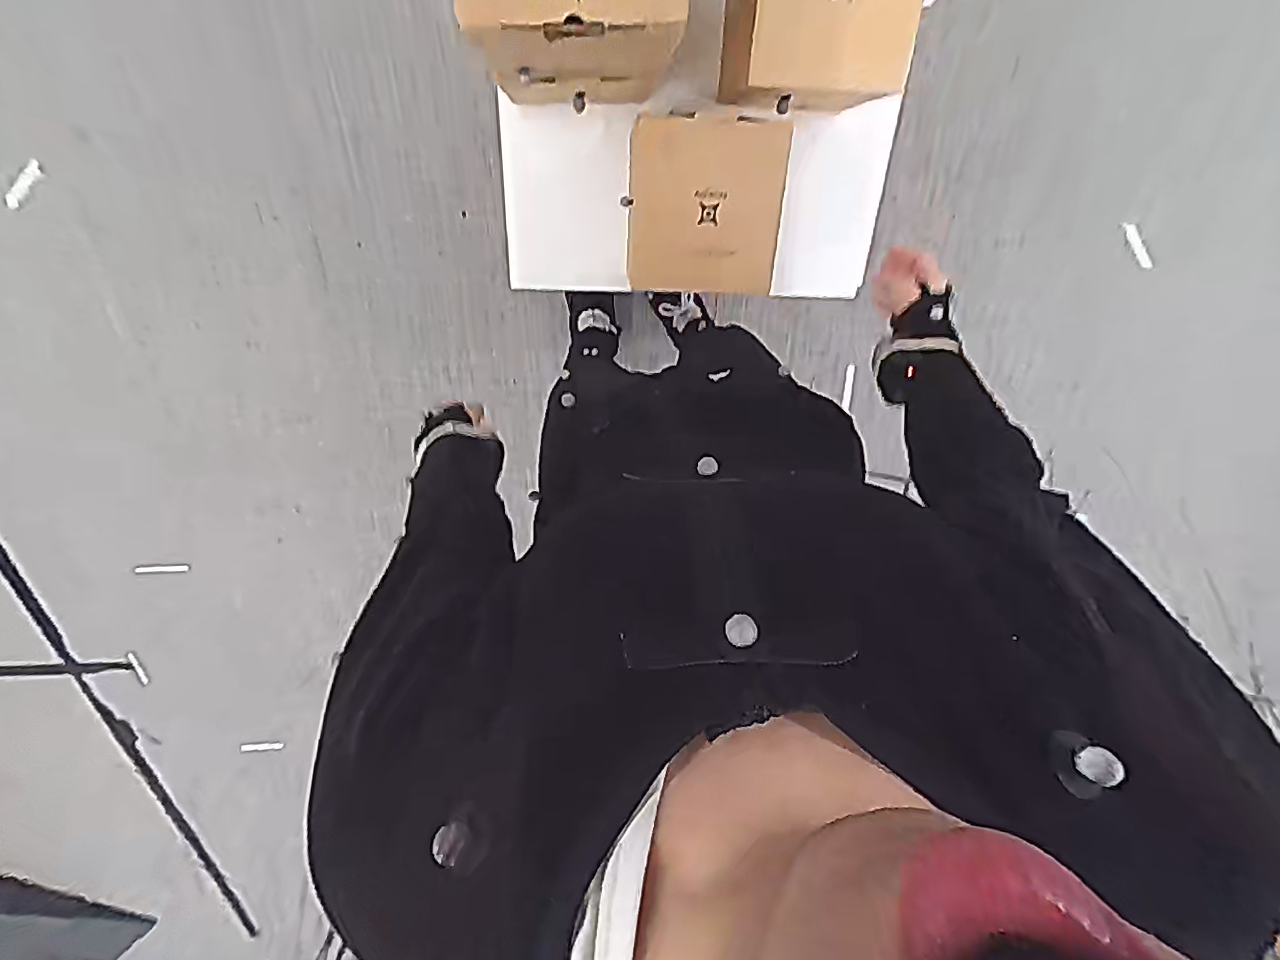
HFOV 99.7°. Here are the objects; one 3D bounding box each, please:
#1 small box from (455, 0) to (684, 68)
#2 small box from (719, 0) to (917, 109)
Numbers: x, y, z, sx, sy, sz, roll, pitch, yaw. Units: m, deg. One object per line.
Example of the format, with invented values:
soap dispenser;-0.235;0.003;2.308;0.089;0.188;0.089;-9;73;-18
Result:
small box;-0.054;-0.438;0.416;0.168;0.176;0.179;-3;117;-3
small box;0.186;-0.516;0.584;0.168;0.176;0.179;2;118;-4
